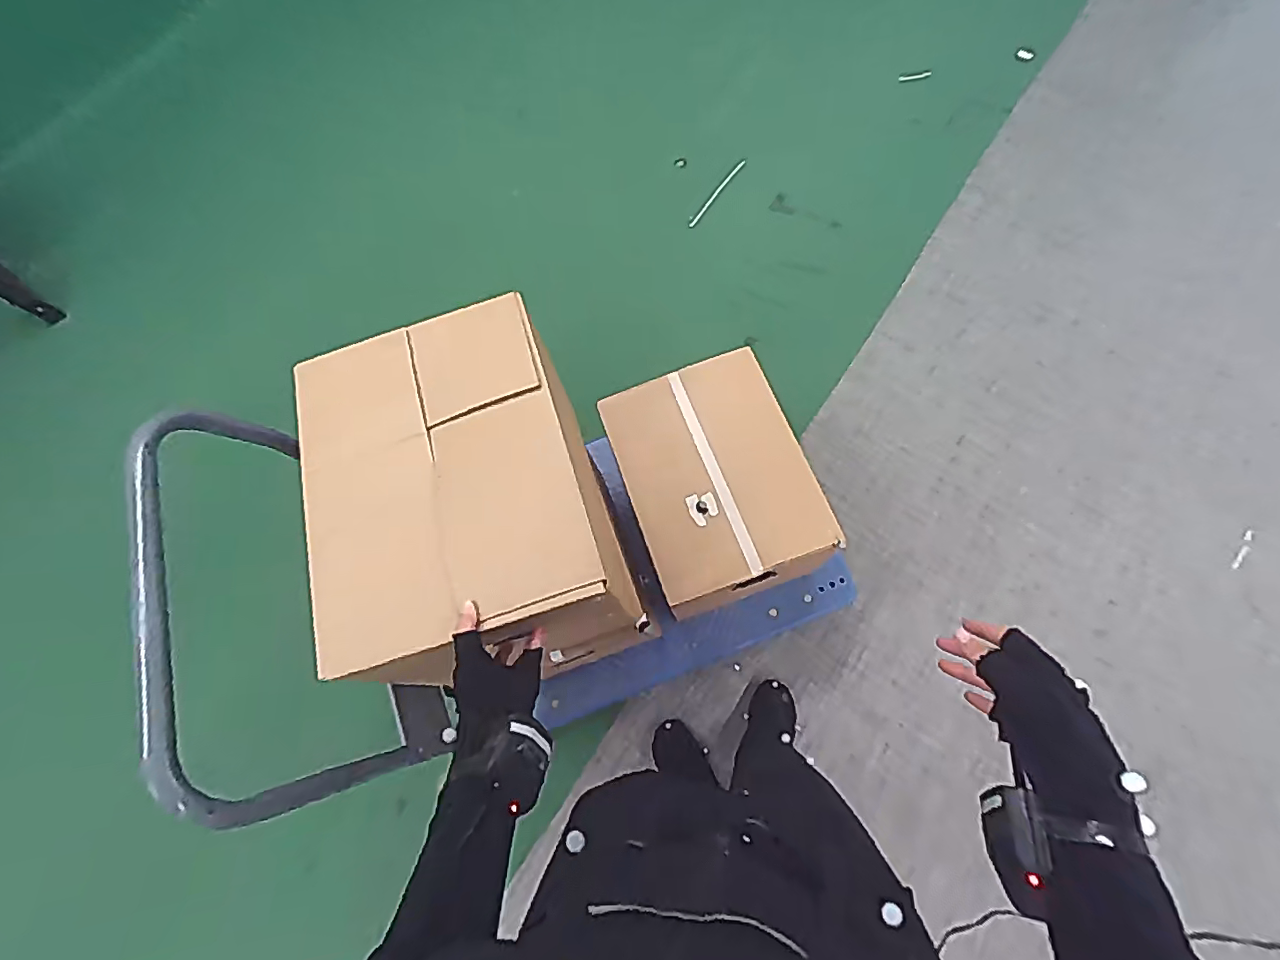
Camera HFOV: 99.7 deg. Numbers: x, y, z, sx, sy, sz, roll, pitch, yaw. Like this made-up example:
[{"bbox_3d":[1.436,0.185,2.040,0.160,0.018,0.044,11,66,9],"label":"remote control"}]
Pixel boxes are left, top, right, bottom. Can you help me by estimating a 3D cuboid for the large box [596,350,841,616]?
[{"bbox_3d":[0.136,0.024,1.092,0.320,0.320,0.408,-20,71,-1],"label":"large box"}]
